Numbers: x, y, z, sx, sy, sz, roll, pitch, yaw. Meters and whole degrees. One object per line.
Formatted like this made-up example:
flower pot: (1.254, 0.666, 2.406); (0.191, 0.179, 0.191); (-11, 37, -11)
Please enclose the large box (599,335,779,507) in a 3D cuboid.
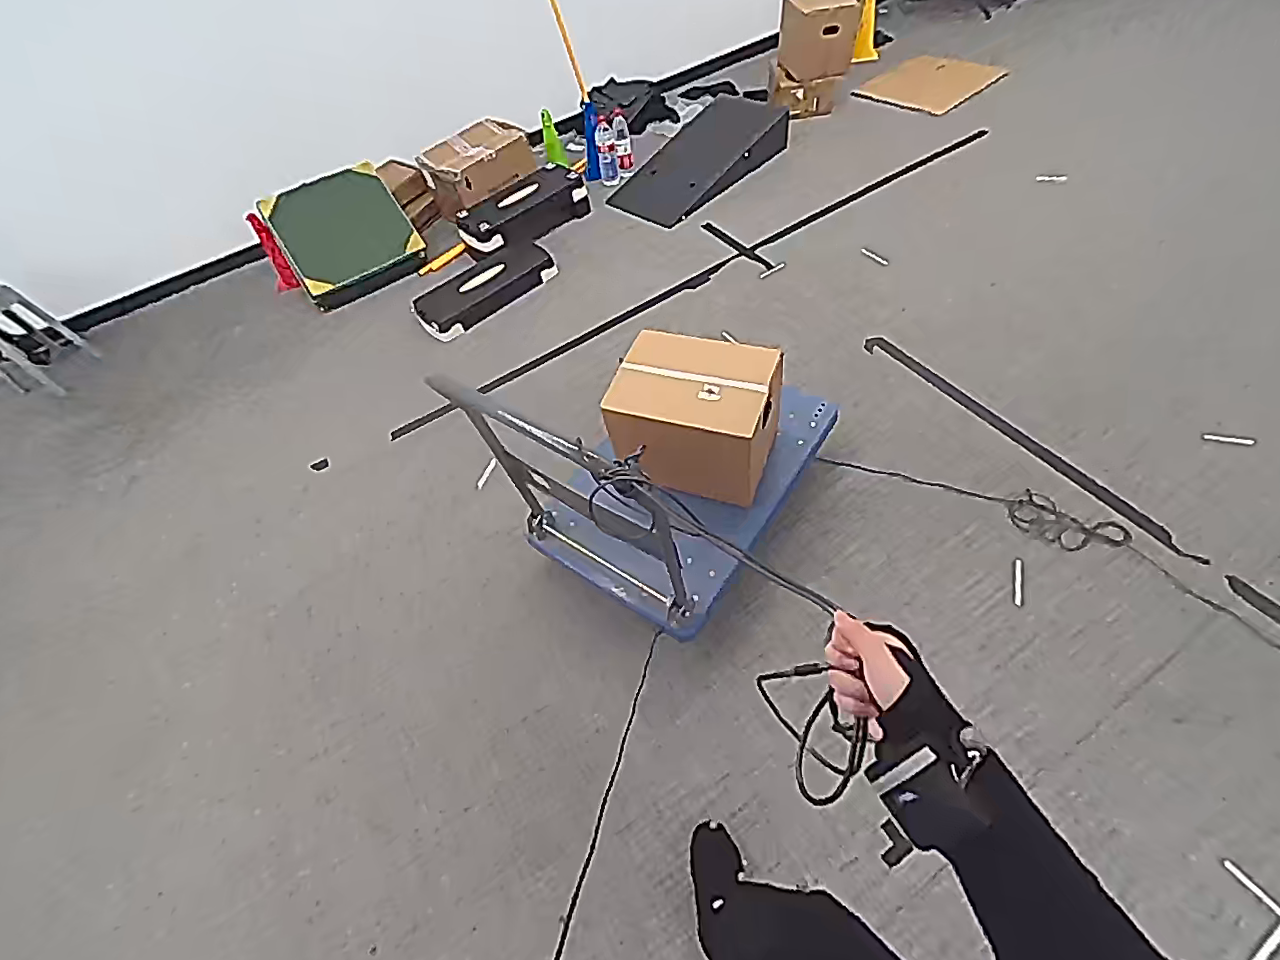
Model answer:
large box: (0.147, -0.166, 1.517); (0.408, 0.320, 0.320); (14, 59, 18)
